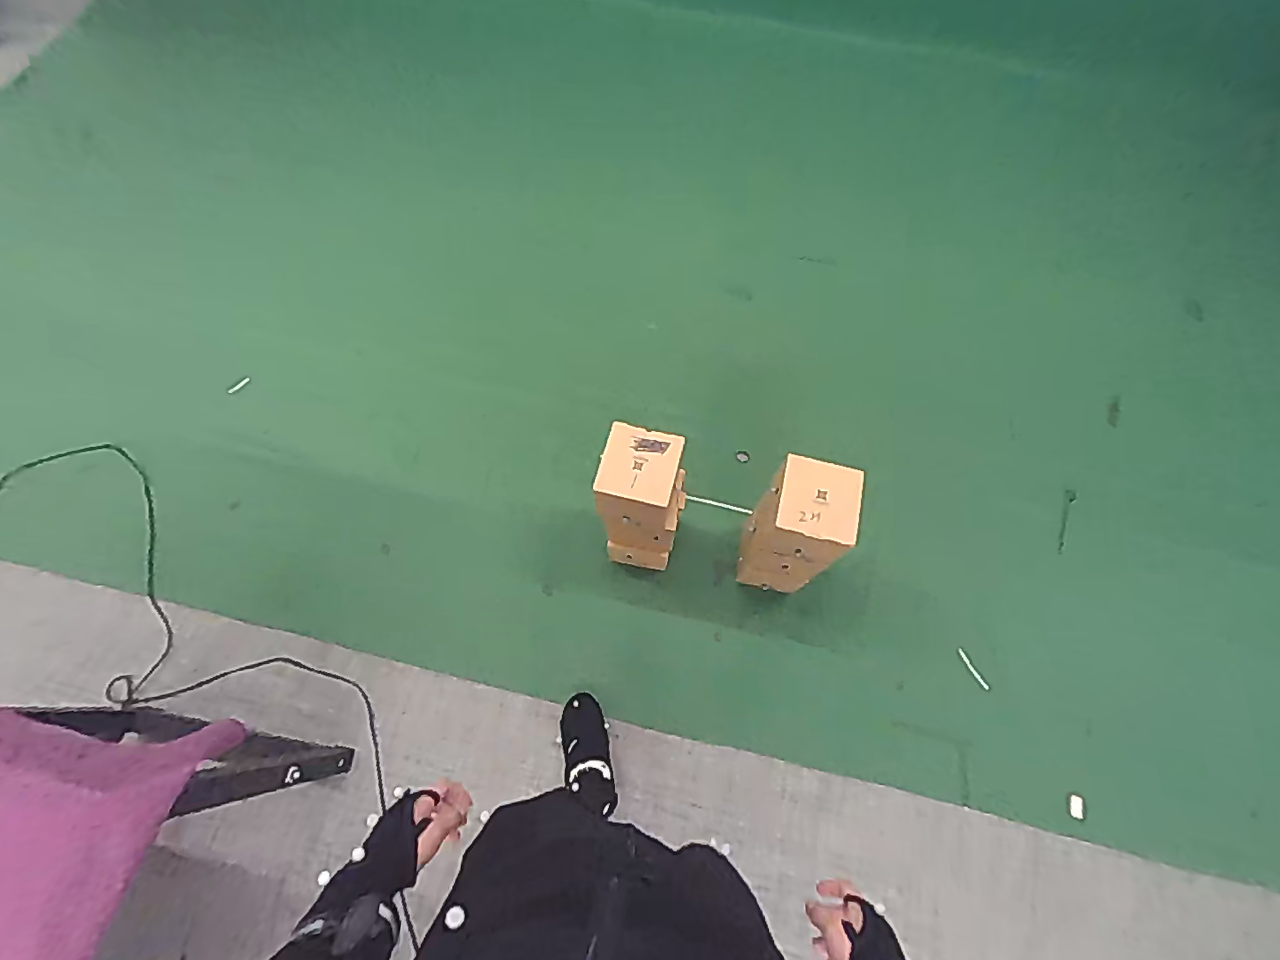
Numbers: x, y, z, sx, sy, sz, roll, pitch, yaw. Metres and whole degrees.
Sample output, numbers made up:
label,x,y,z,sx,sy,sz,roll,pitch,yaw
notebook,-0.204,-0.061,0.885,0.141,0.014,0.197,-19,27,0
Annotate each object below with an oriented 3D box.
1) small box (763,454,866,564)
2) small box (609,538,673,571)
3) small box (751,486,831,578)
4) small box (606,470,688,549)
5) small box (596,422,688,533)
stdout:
label,x,y,z,sx,sy,sz,roll,pitch,yaw
small box,0.380,0.069,1.199,0.168,0.176,0.179,14,69,5
small box,0.014,0.145,1.521,0.168,0.176,0.179,10,67,4
small box,0.381,0.133,1.351,0.168,0.176,0.179,14,70,4
small box,0.019,0.068,1.378,0.179,0.176,0.168,10,66,4
small box,0.004,-0.001,1.229,0.168,0.176,0.179,13,67,5
